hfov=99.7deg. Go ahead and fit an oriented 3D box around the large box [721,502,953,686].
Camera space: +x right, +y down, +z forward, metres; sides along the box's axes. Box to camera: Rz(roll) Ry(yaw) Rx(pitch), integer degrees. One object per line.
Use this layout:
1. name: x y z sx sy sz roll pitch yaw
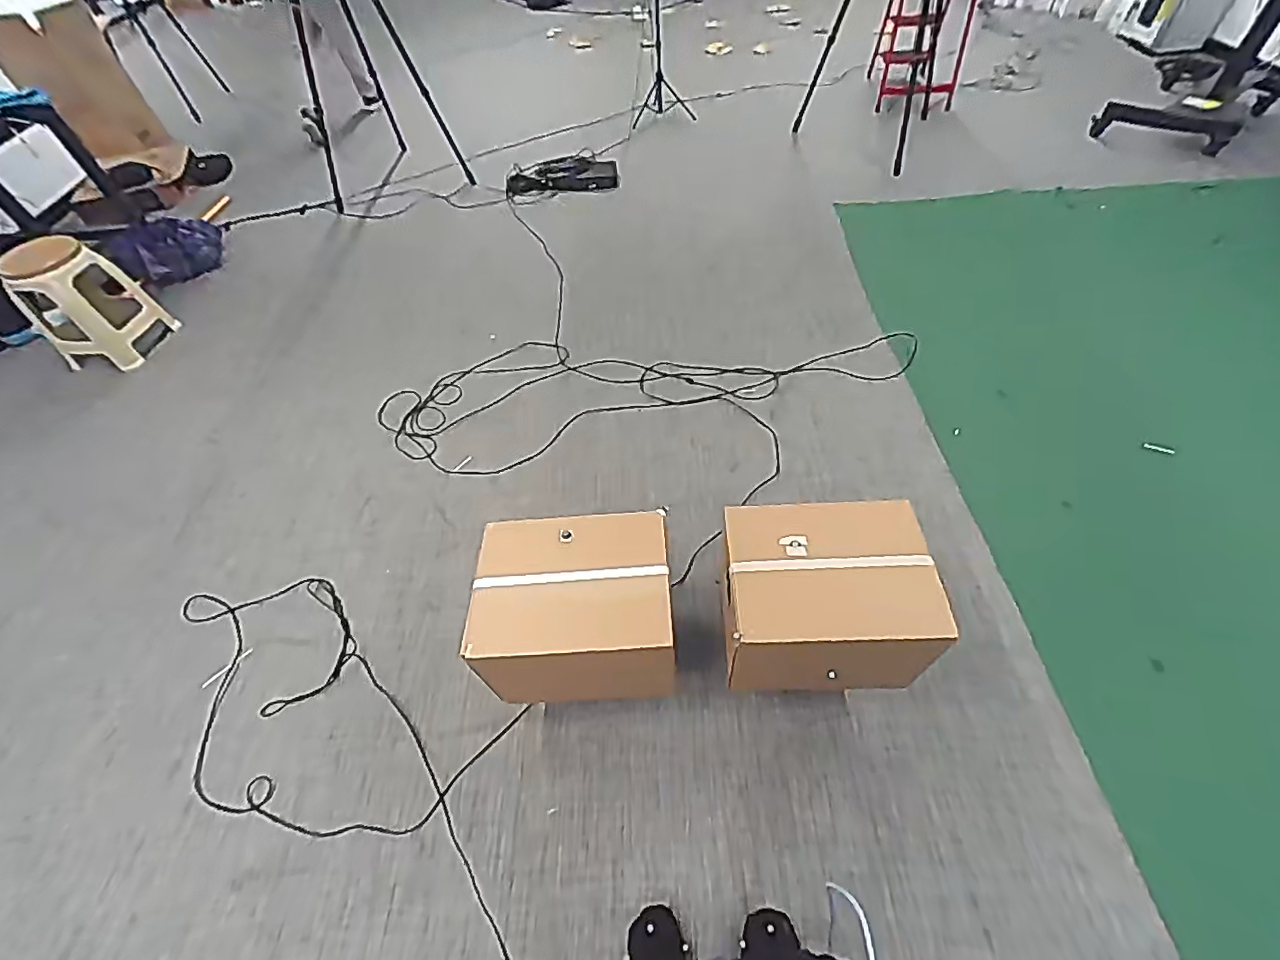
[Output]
1. large box: 0.404 0.269 1.230 0.408 0.320 0.320 -3 52 4
